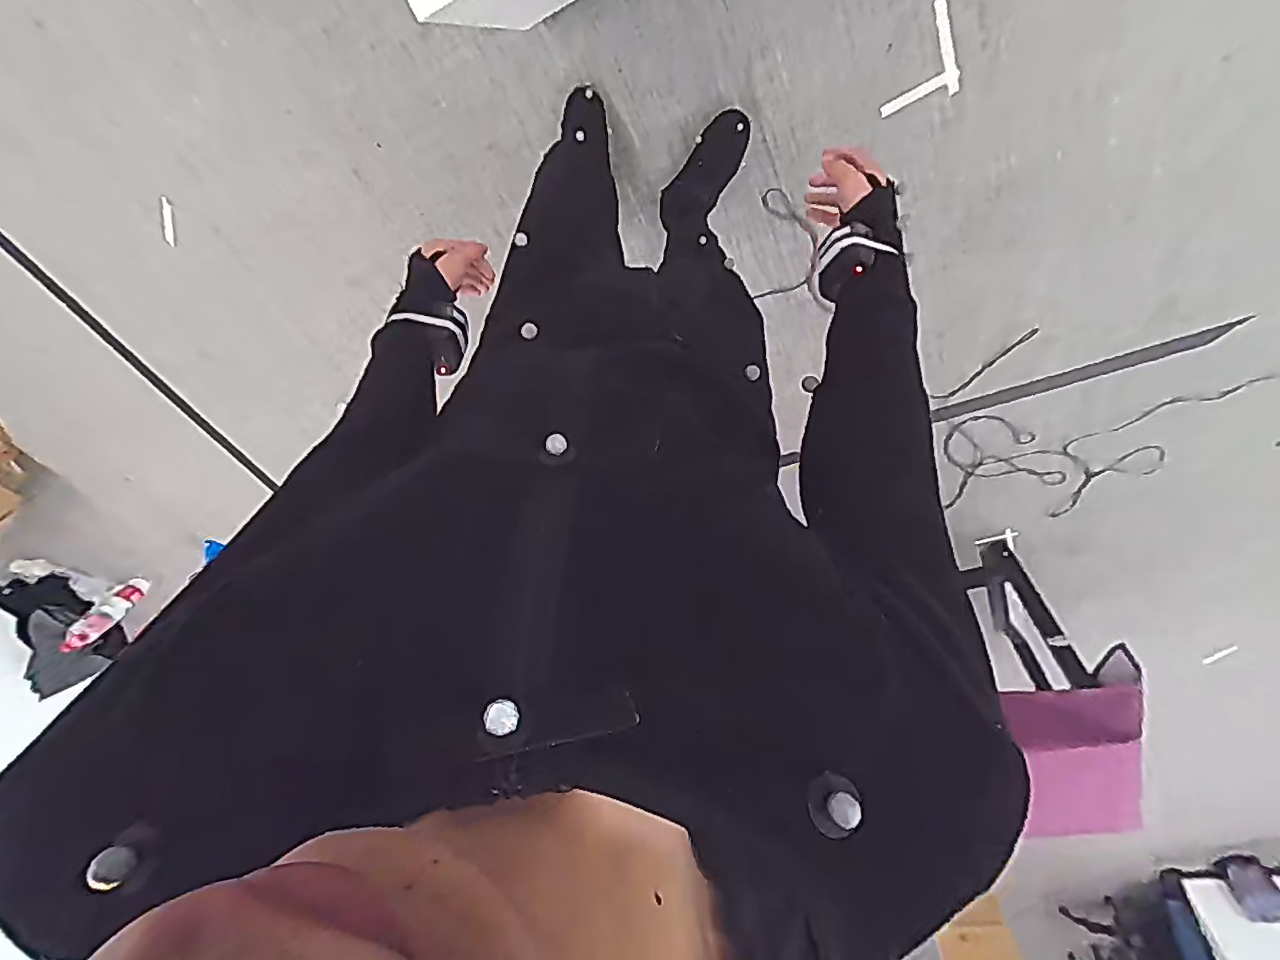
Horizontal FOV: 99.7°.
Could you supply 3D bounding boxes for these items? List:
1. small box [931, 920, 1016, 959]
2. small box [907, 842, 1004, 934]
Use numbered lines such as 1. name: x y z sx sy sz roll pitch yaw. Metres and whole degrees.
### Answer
1. small box: 0.834 1.200 1.327 0.168 0.176 0.179 -17 126 18
2. small box: 0.842 1.093 1.450 0.179 0.176 0.168 -16 125 18
